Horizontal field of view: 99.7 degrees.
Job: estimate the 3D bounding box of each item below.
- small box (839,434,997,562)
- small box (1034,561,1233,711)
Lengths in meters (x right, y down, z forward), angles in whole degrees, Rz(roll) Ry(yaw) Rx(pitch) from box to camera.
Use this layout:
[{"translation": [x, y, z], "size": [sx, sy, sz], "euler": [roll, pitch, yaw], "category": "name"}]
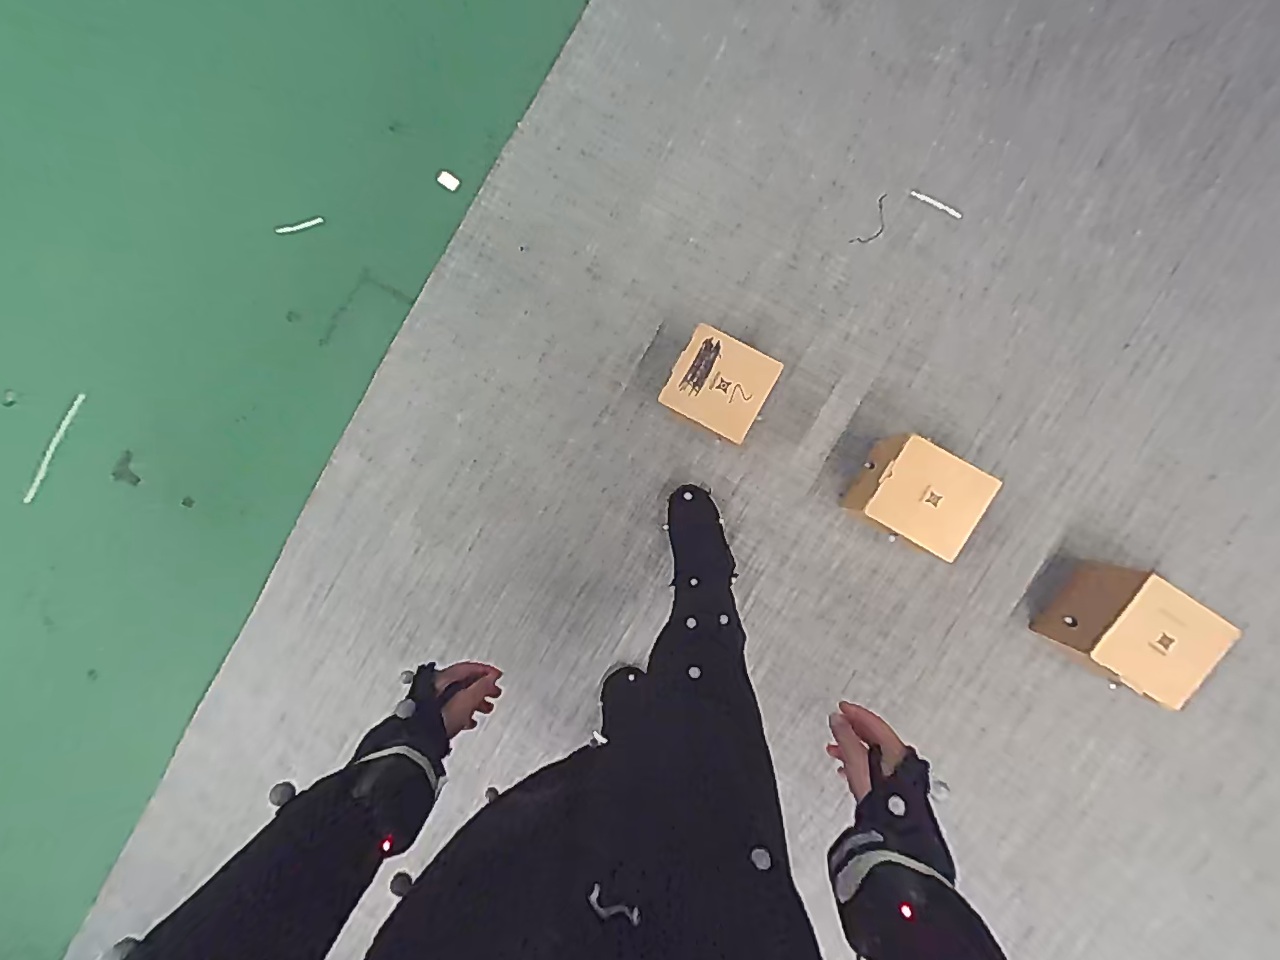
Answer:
[{"translation": [0.507, 0.029, 1.015], "size": [0.179, 0.176, 0.168], "euler": [31, 93, 6], "category": "small box"}, {"translation": [0.864, 0.268, 0.973], "size": [0.168, 0.176, 0.179], "euler": [35, 93, 4], "category": "small box"}]
